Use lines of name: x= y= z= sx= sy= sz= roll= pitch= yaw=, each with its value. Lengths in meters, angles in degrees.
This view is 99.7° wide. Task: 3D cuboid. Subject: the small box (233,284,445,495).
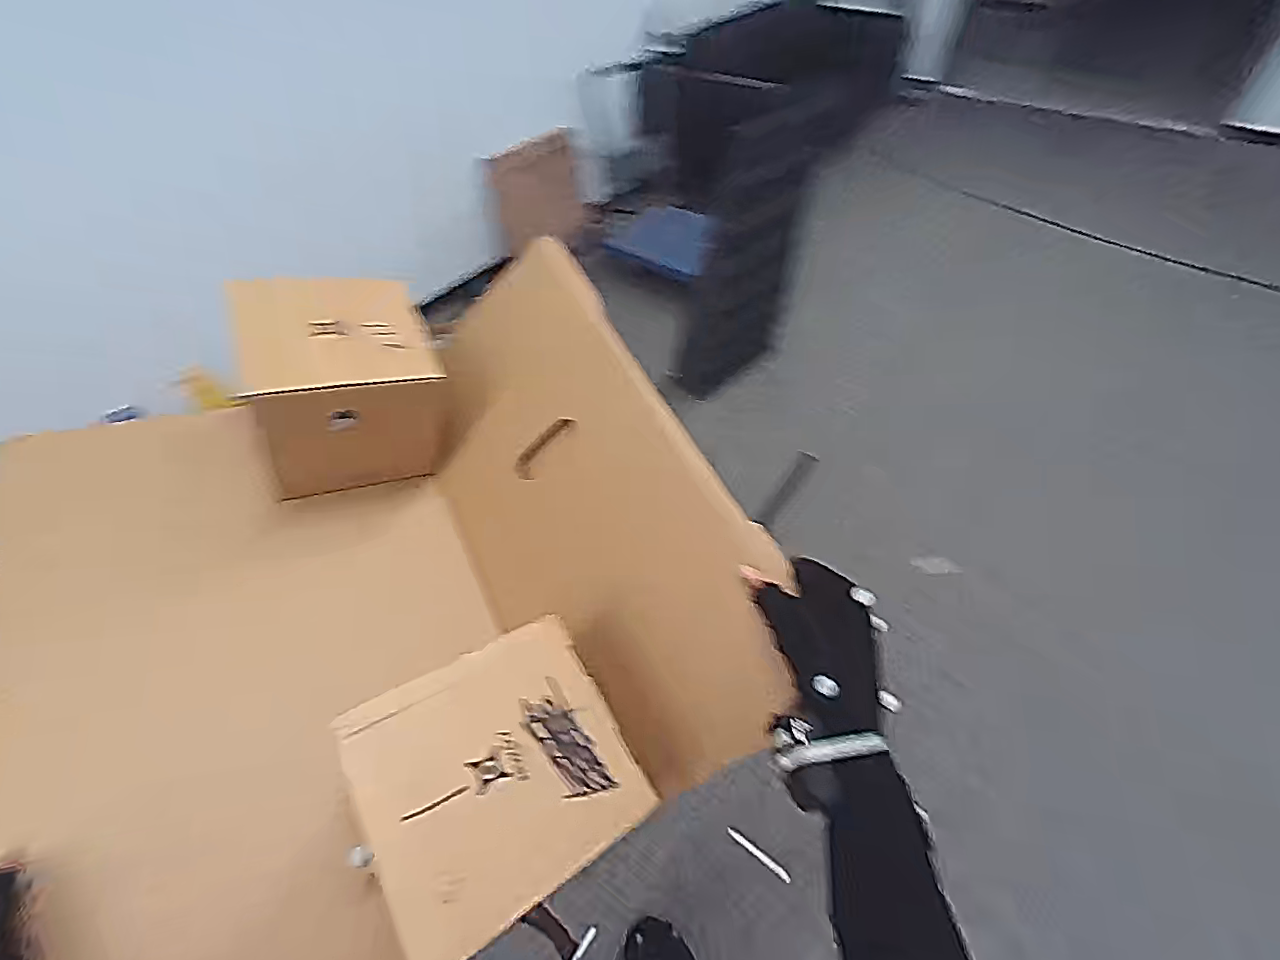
small box: x=-0.334 y=-0.101 z=0.616 sx=0.179 sy=0.176 sz=0.168 roll=-11 pitch=60 yaw=-31
